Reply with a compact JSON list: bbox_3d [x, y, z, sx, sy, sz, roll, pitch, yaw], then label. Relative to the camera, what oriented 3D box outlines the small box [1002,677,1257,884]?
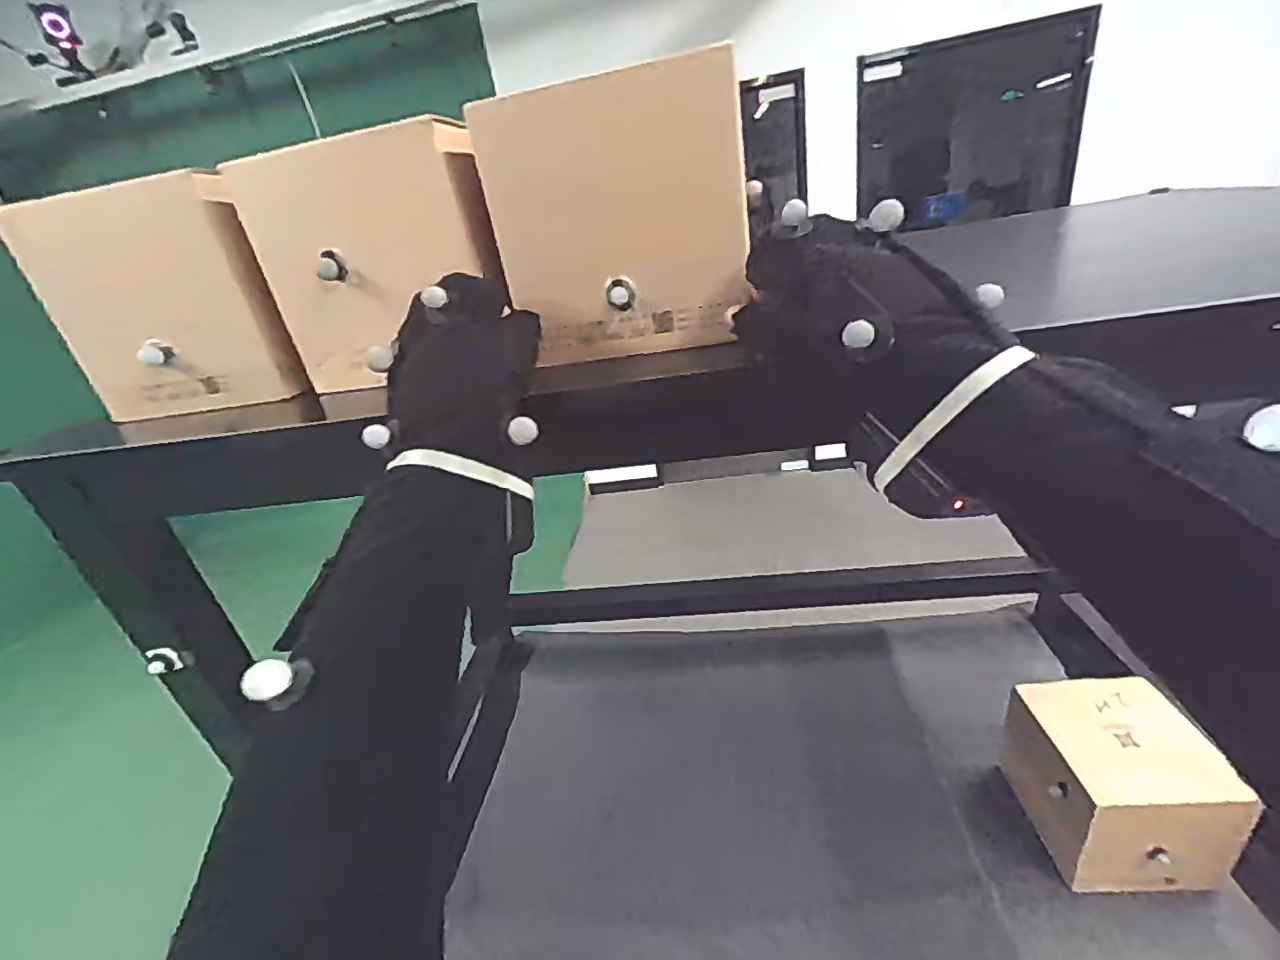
[{"bbox_3d":[0.602,0.384,0.695,0.168,0.176,0.179,-7,25,8],"label":"small box"}]

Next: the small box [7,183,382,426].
[{"bbox_3d":[-0.366,-0.160,0.493,0.168,0.176,0.179,-6,27,8],"label":"small box"}]
